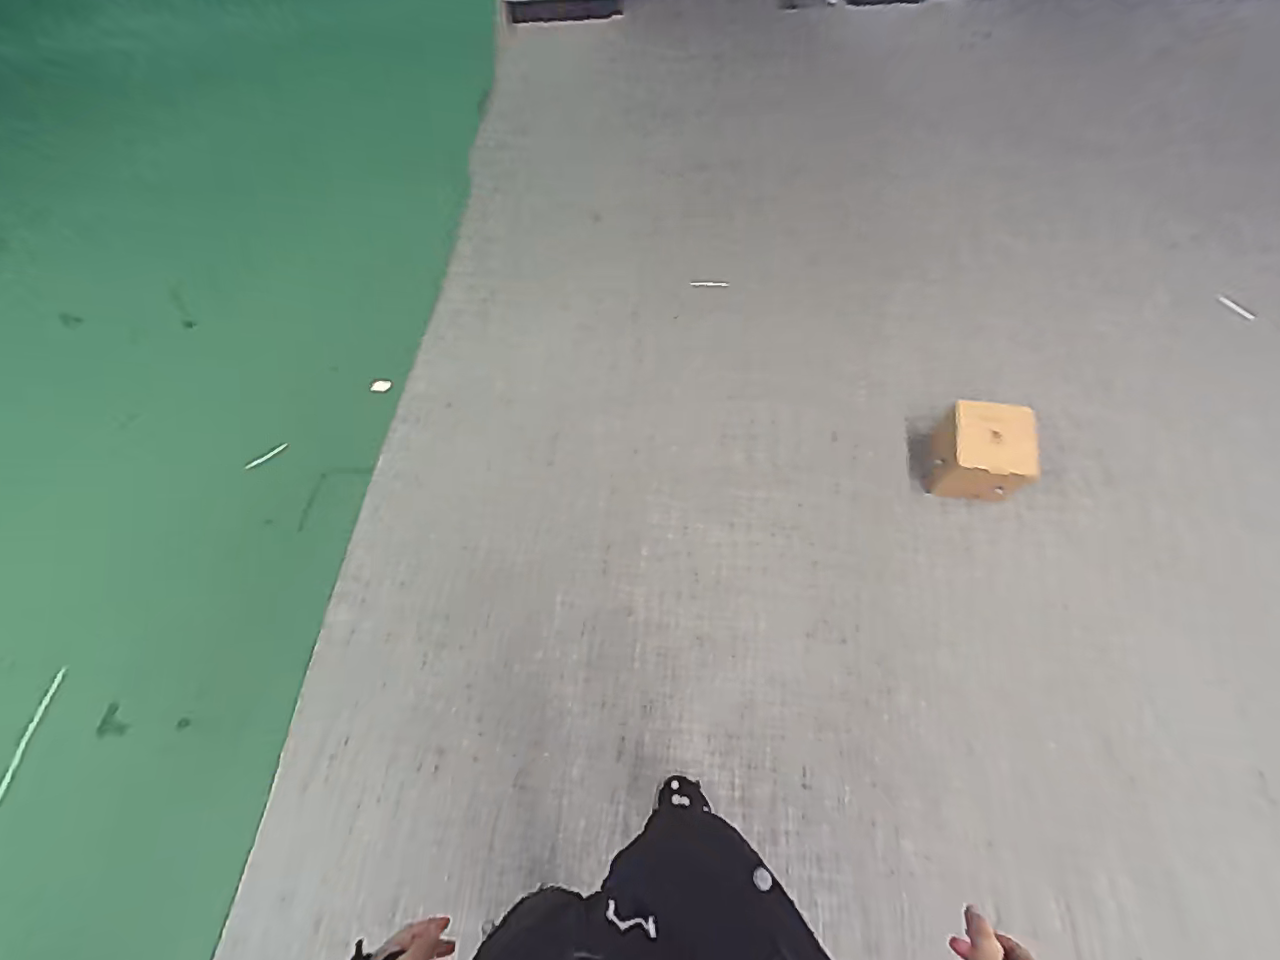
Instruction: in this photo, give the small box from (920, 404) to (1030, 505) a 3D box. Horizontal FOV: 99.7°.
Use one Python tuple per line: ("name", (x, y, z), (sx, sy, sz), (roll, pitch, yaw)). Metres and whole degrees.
("small box", (0.784, -0.054, 1.282), (0.168, 0.176, 0.179), (9, 66, 7))
